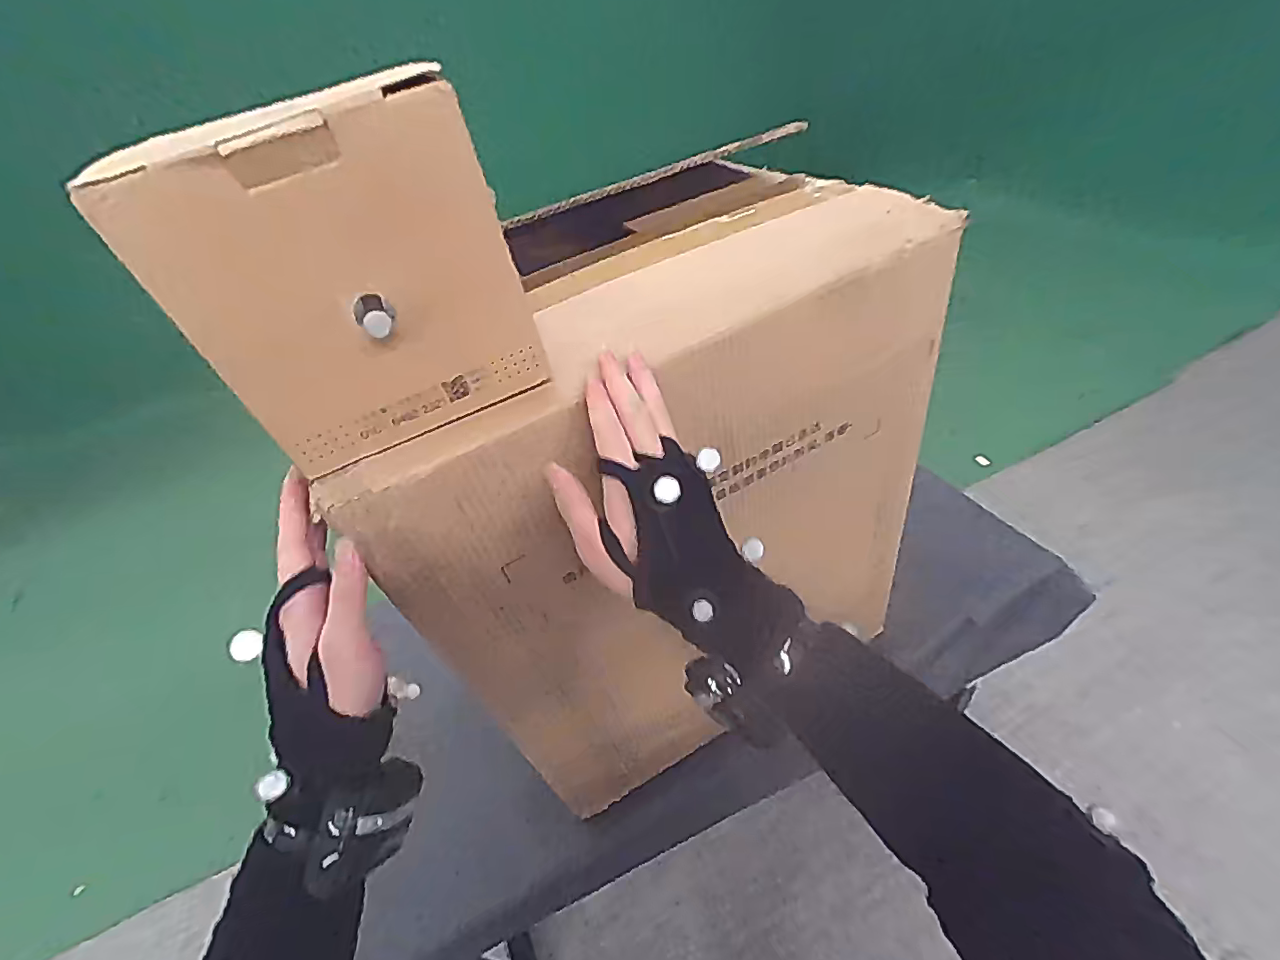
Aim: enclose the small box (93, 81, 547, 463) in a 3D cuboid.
[{"bbox_3d":[-0.178,-0.133,0.354,0.168,0.176,0.179,-26,44,-12],"label":"small box"}]
